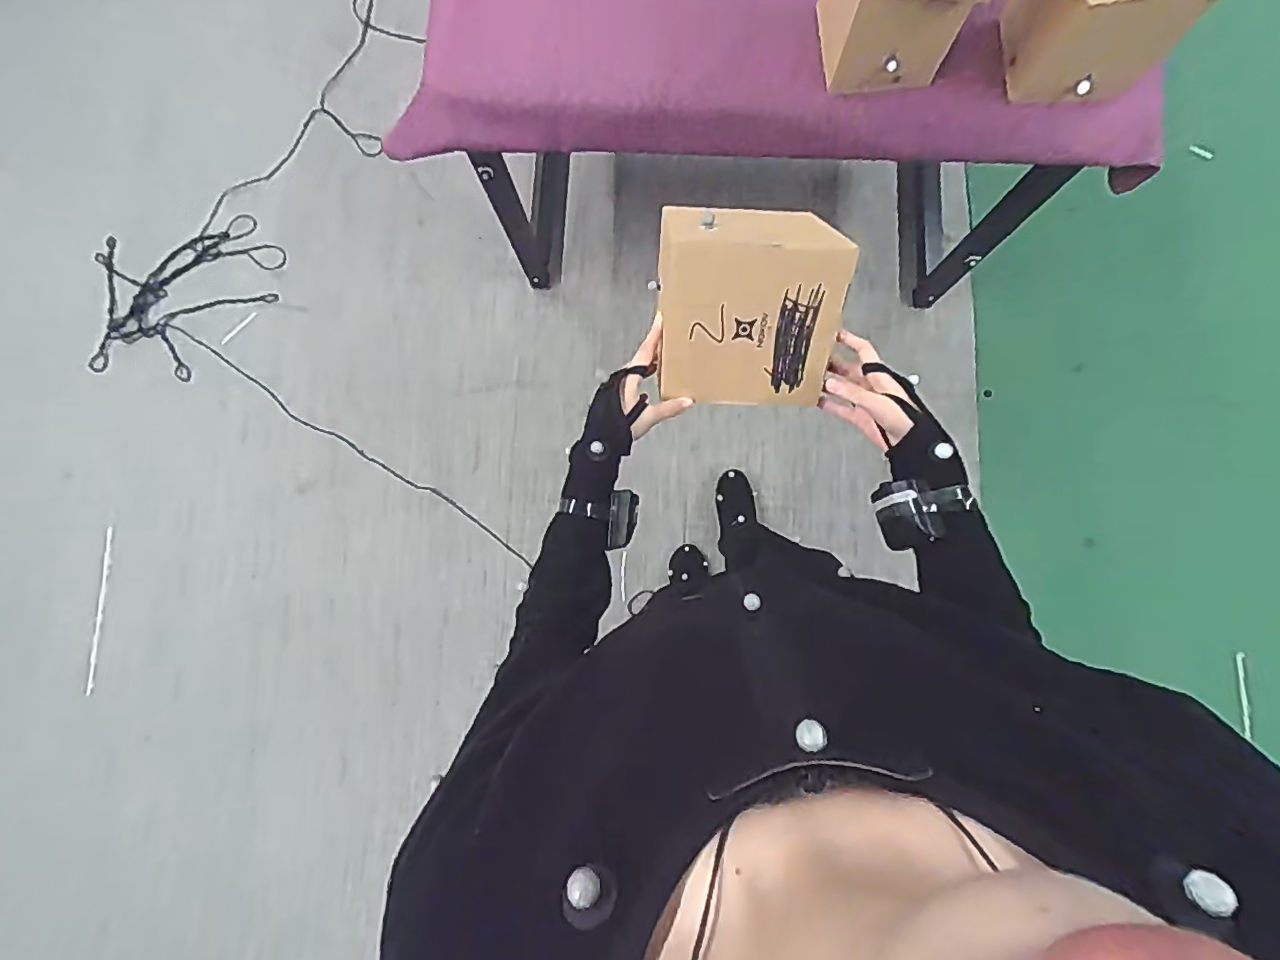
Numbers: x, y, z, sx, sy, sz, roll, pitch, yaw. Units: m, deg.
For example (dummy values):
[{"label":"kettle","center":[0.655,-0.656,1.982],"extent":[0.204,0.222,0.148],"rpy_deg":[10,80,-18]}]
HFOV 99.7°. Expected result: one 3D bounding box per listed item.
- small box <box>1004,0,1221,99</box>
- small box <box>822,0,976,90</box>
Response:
[{"label":"small box","center":[0.677,-0.697,0.791],"extent":[0.179,0.176,0.168],"rpy_deg":[-1,82,3]},{"label":"small box","center":[0.382,-0.734,0.810],"extent":[0.168,0.176,0.179],"rpy_deg":[-3,82,3]}]
